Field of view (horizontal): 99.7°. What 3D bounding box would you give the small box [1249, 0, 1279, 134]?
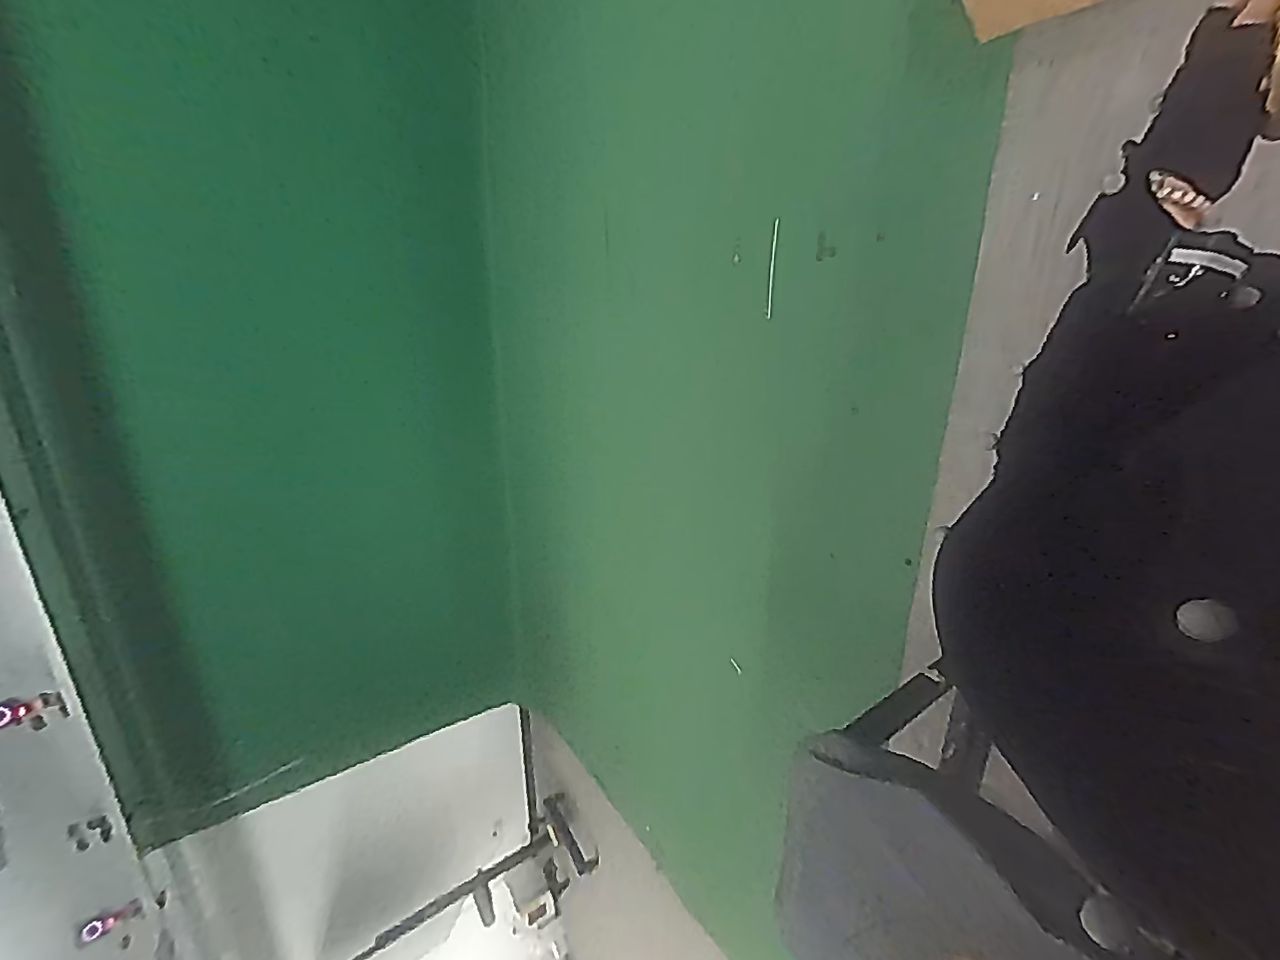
[{"bbox_3d":[0.472,-0.321,0.287,0.179,0.176,0.168,8,104,45],"label":"small box"}]
